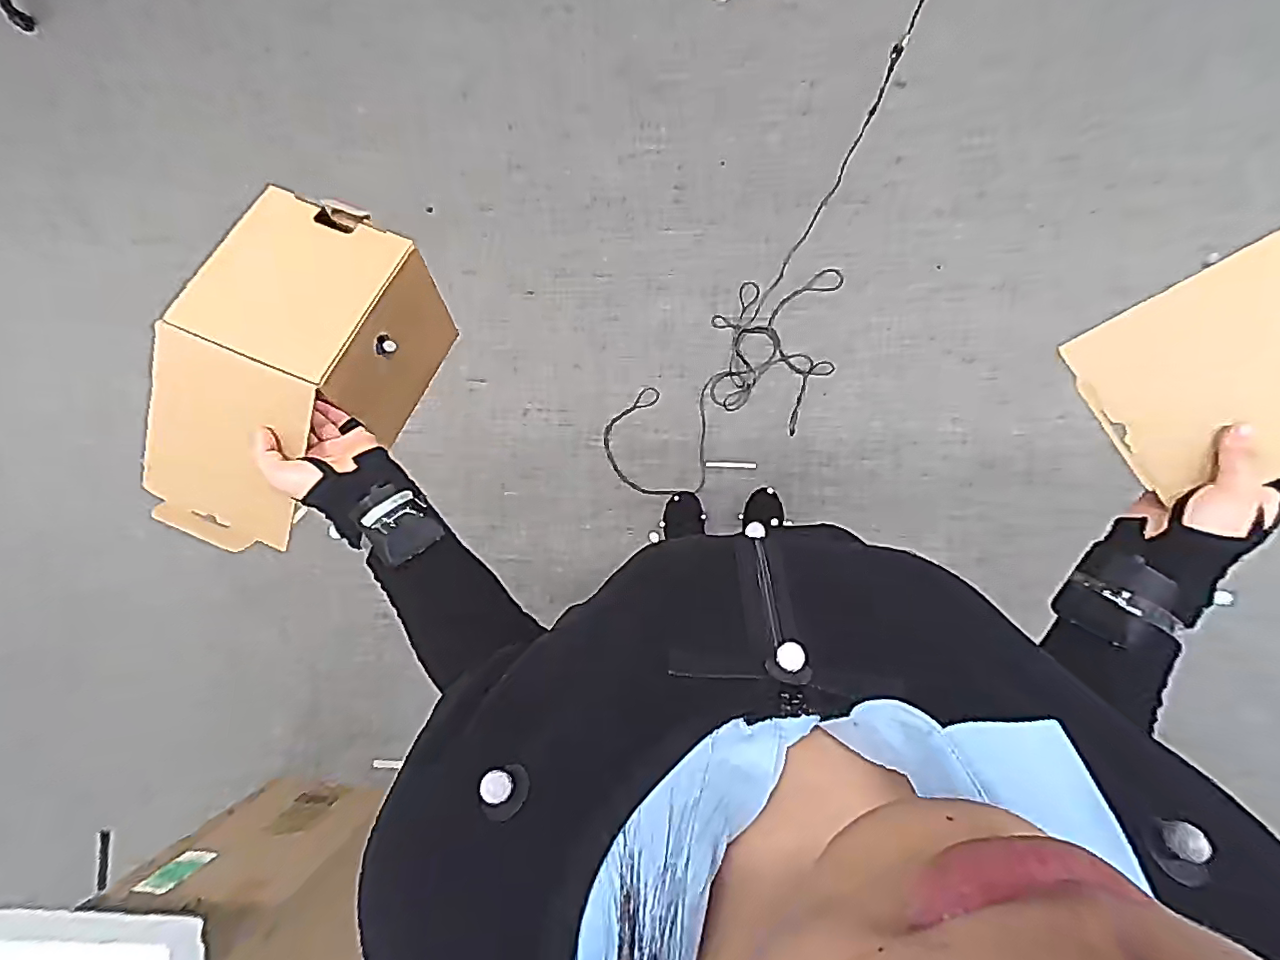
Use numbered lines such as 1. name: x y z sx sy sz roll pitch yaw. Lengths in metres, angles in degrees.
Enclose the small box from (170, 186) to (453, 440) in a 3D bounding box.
1. small box: -0.330 -0.167 0.590 0.168 0.176 0.179 23 72 3
